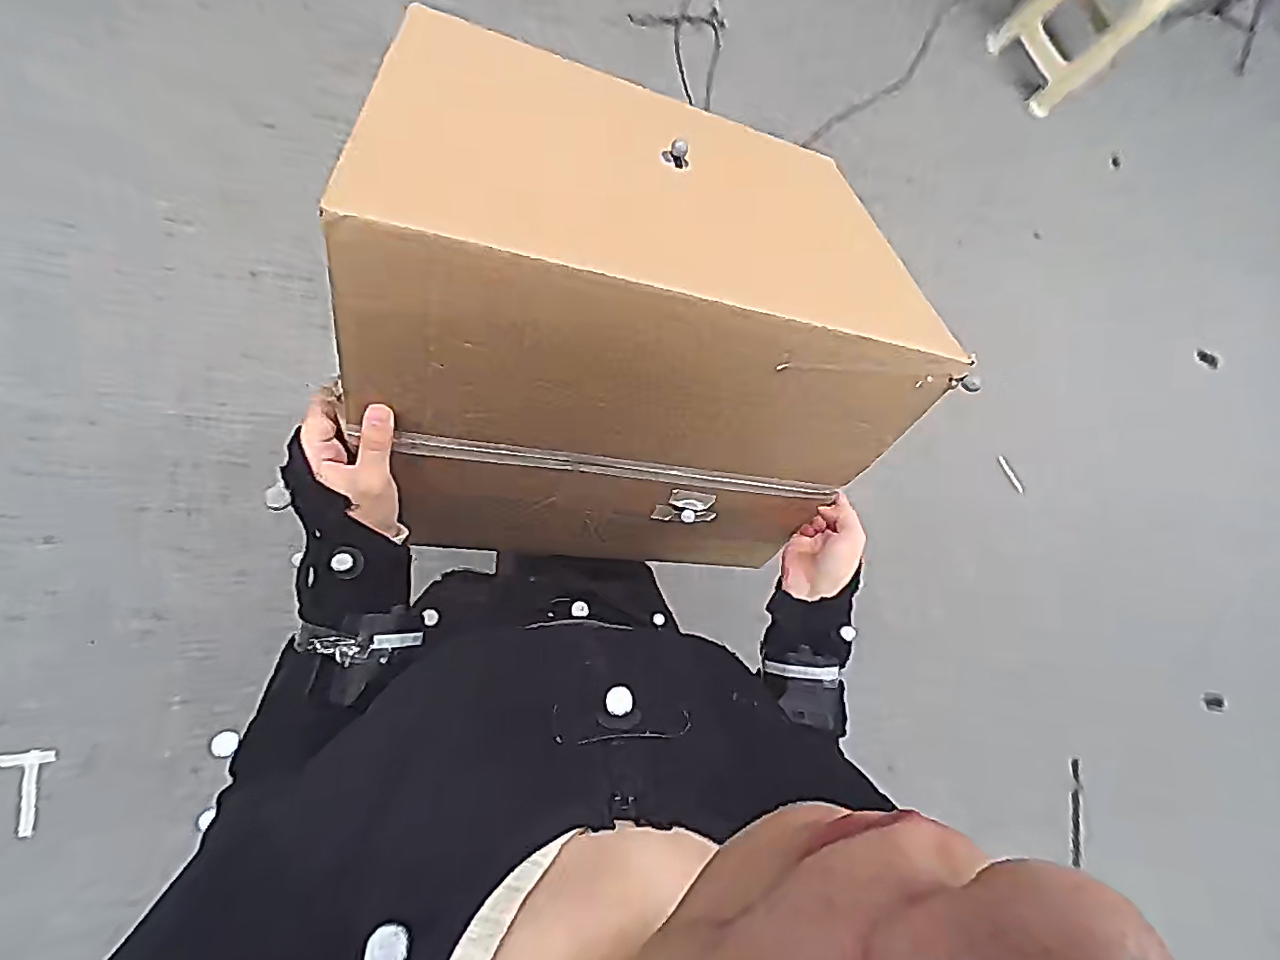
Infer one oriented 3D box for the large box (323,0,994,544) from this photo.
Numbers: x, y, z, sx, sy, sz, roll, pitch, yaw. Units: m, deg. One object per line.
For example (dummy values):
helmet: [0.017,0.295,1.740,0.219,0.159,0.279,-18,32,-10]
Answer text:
large box: [-0.016,-0.155,0.494,0.408,0.320,0.320,5,53,-19]
